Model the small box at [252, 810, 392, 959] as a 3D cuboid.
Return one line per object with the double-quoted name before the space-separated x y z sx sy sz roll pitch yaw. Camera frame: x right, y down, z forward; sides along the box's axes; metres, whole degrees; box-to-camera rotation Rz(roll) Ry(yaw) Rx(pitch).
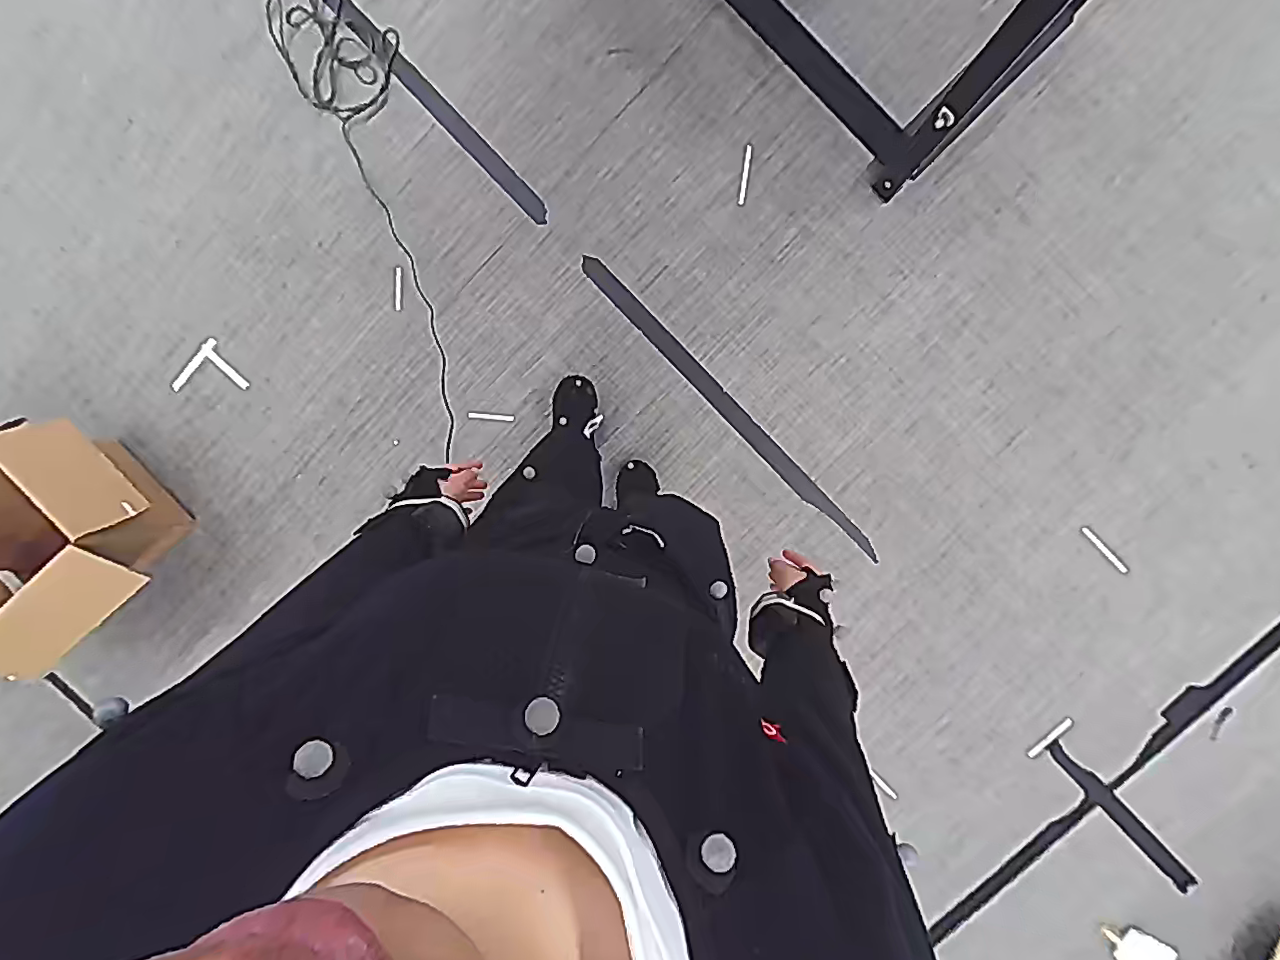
"small box" -0.699 0.900 1.211 0.168 0.176 0.179 43 94 -1
